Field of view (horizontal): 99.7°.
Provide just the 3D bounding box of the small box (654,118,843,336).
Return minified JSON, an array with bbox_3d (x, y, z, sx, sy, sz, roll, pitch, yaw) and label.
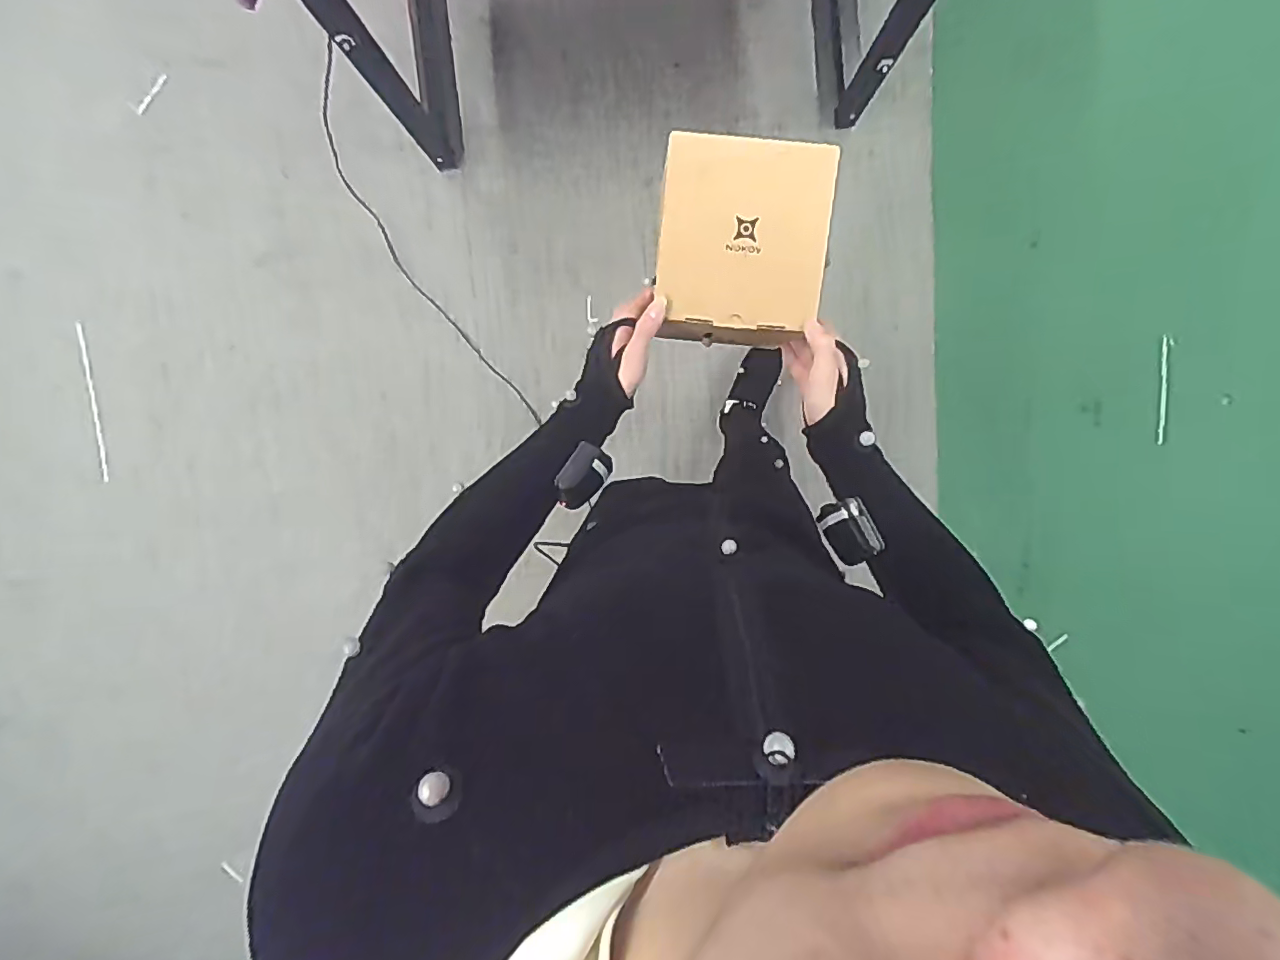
[{"bbox_3d":[0.105,-0.265,0.606,0.168,0.176,0.179,5,101,-1],"label":"small box"}]
